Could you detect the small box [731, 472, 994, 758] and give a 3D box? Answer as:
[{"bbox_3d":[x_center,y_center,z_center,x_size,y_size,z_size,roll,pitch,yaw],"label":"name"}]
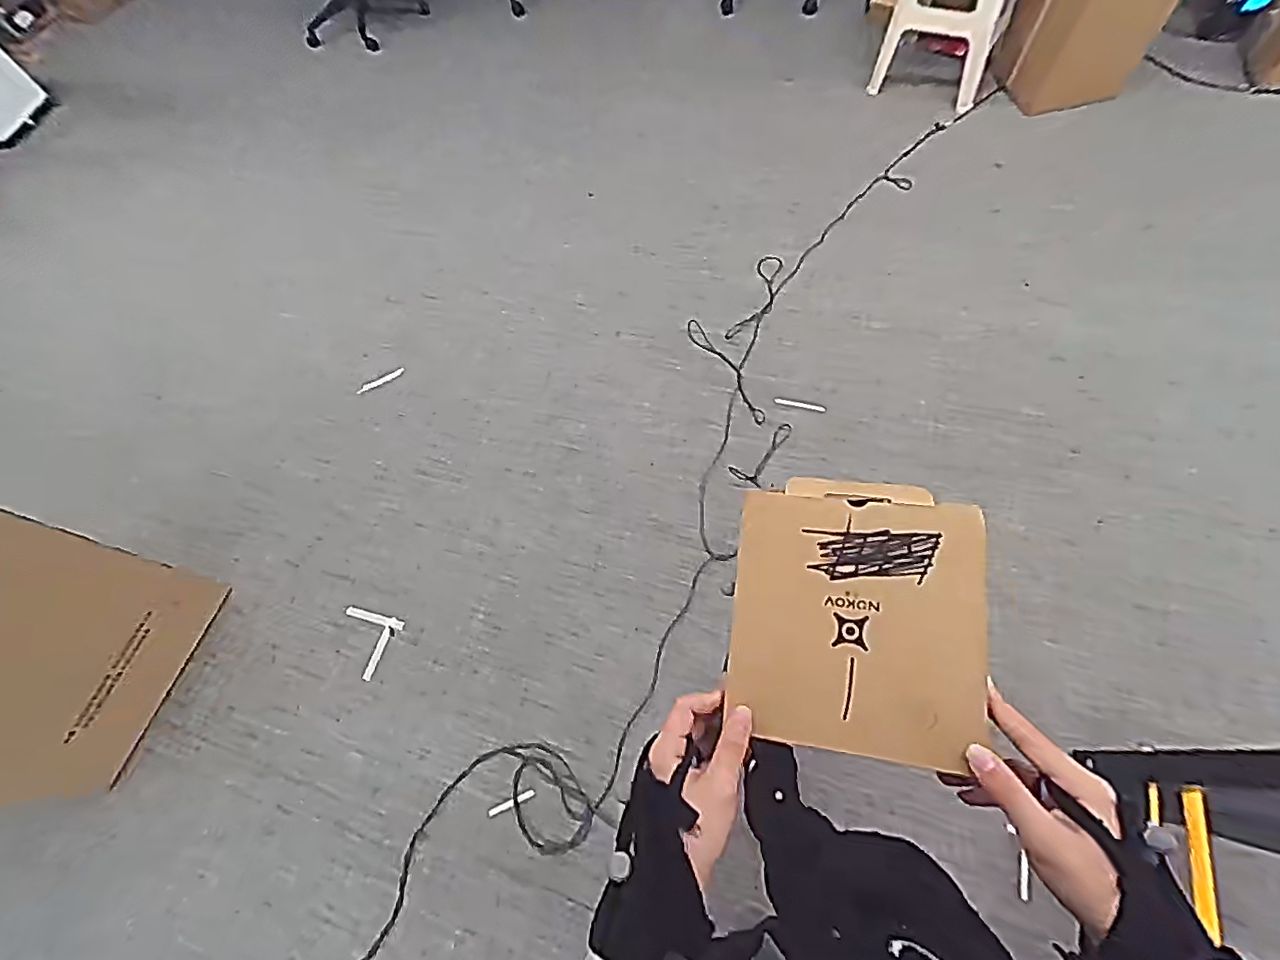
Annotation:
[{"bbox_3d":[0.169,0.104,0.449,0.168,0.176,0.179,4,77,15],"label":"small box"}]
